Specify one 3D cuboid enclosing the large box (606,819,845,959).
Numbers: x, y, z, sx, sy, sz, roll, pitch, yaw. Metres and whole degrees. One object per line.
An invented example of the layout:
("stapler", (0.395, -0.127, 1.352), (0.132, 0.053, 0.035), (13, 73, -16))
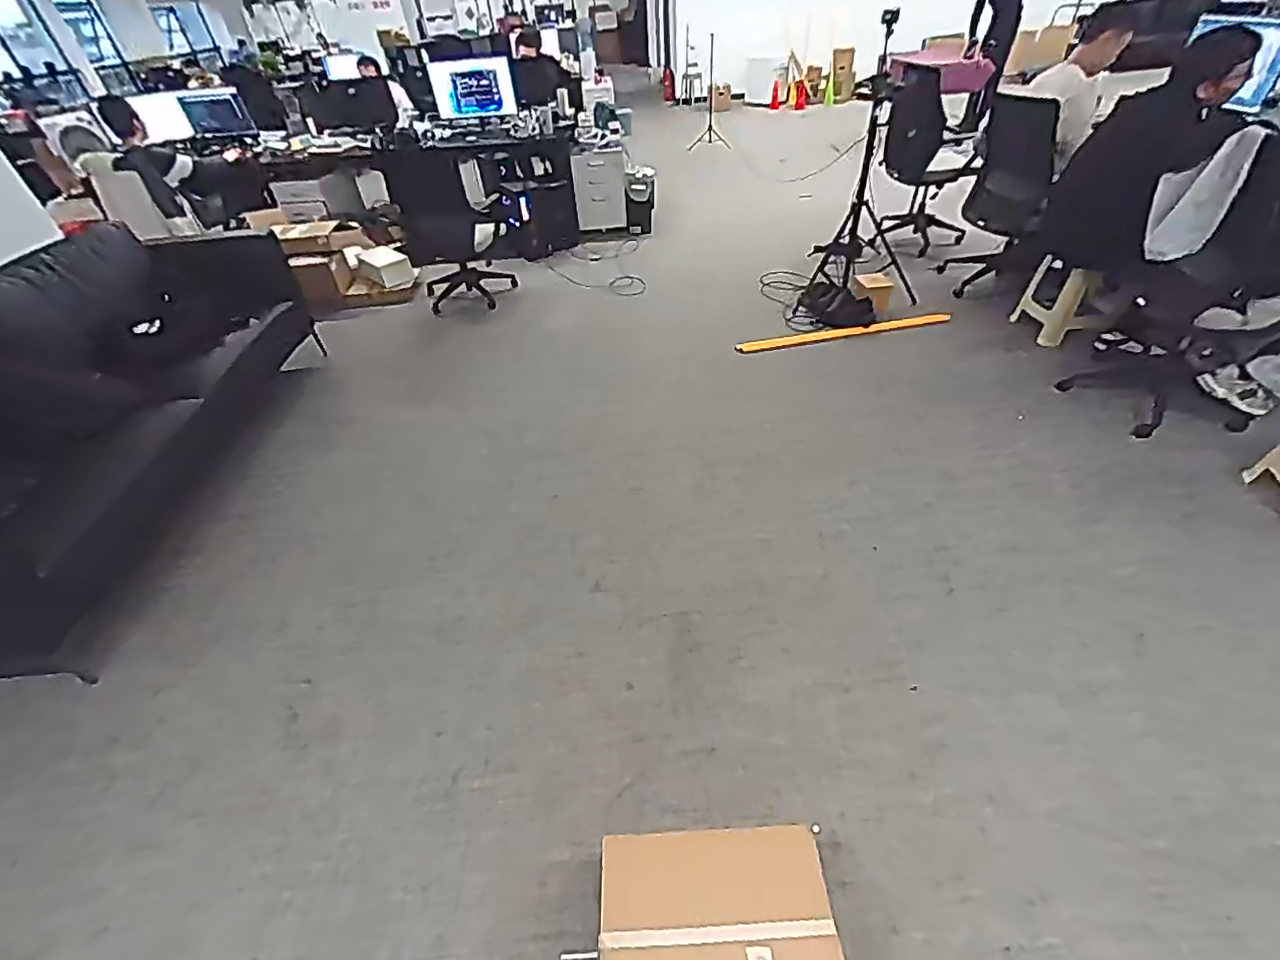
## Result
("large box", (0.148, 0.883, 1.027), (0.408, 0.320, 0.320), (-4, 42, 1))
